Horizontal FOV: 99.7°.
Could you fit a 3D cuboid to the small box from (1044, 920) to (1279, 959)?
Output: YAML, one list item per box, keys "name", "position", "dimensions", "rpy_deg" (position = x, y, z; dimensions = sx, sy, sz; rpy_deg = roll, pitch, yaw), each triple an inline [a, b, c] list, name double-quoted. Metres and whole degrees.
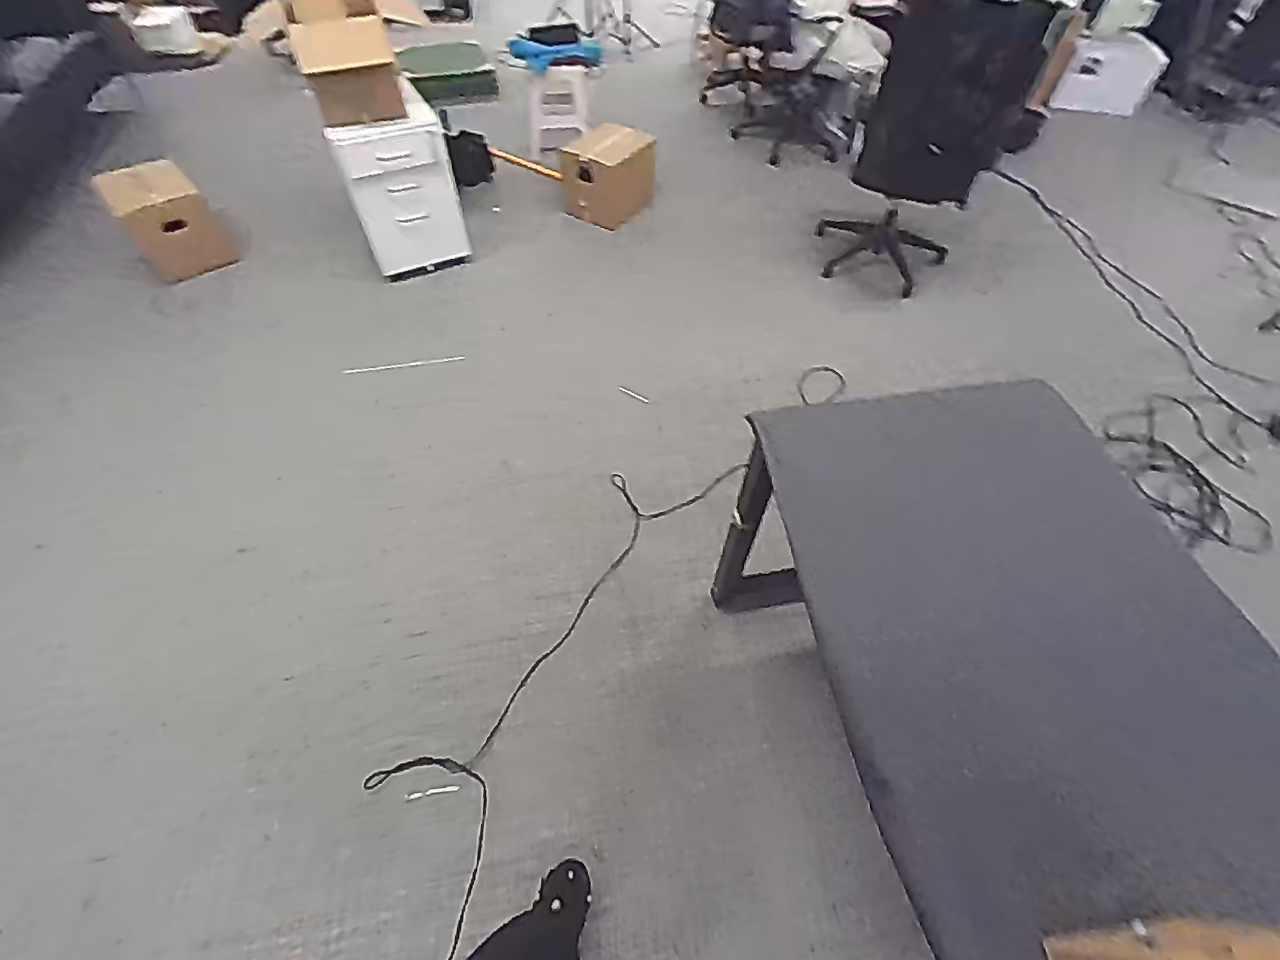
- name: "small box"
  position: [0.506, 0.497, 0.462]
  dimensions: [0.168, 0.176, 0.179]
  rpy_deg: [-4, 54, -6]
